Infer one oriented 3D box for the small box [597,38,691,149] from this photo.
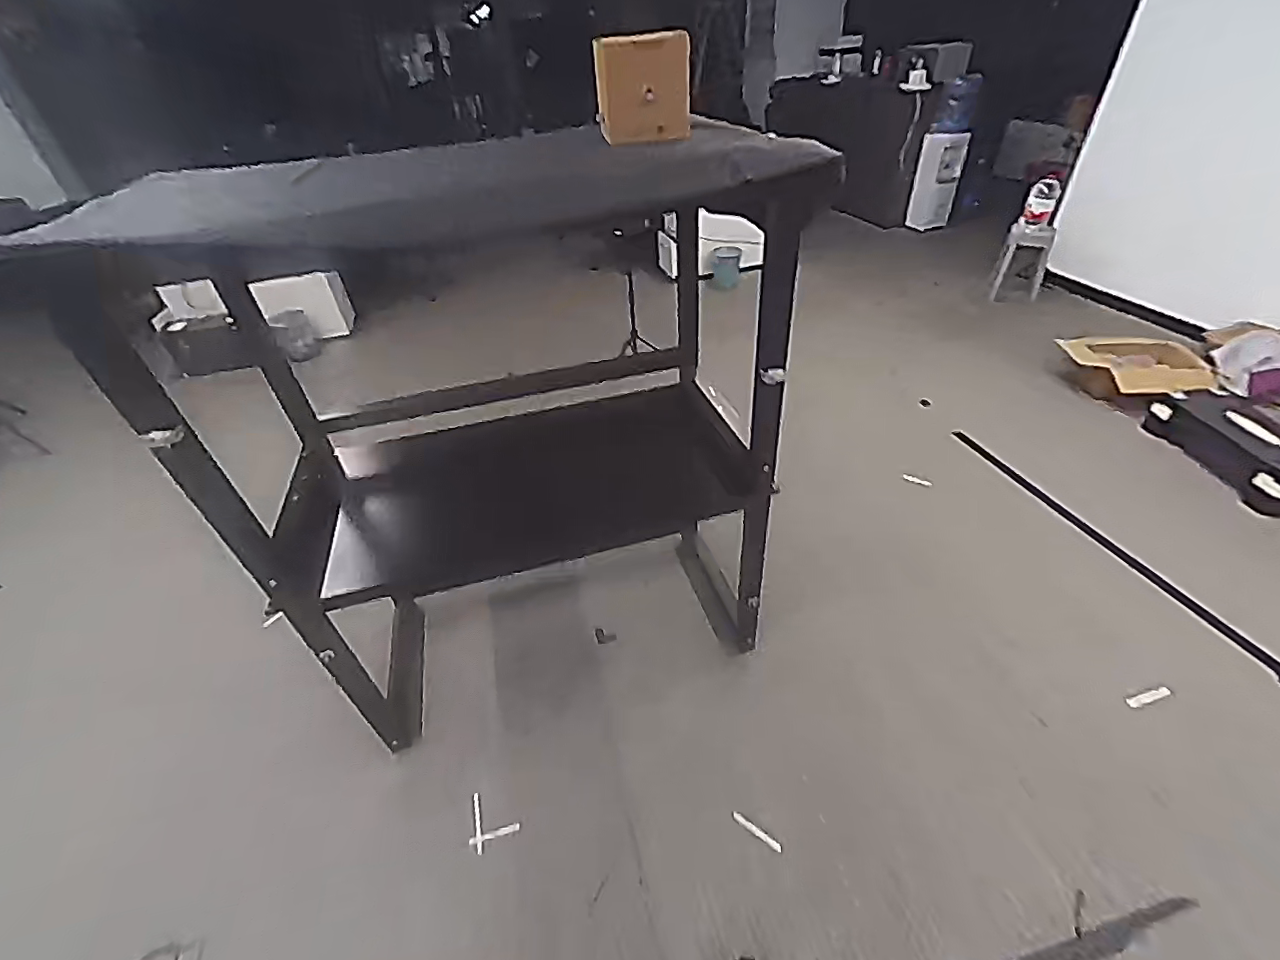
[{"bbox_3d":[0.009,-0.796,1.119,0.168,0.176,0.179,-9,41,-5],"label":"small box"}]
